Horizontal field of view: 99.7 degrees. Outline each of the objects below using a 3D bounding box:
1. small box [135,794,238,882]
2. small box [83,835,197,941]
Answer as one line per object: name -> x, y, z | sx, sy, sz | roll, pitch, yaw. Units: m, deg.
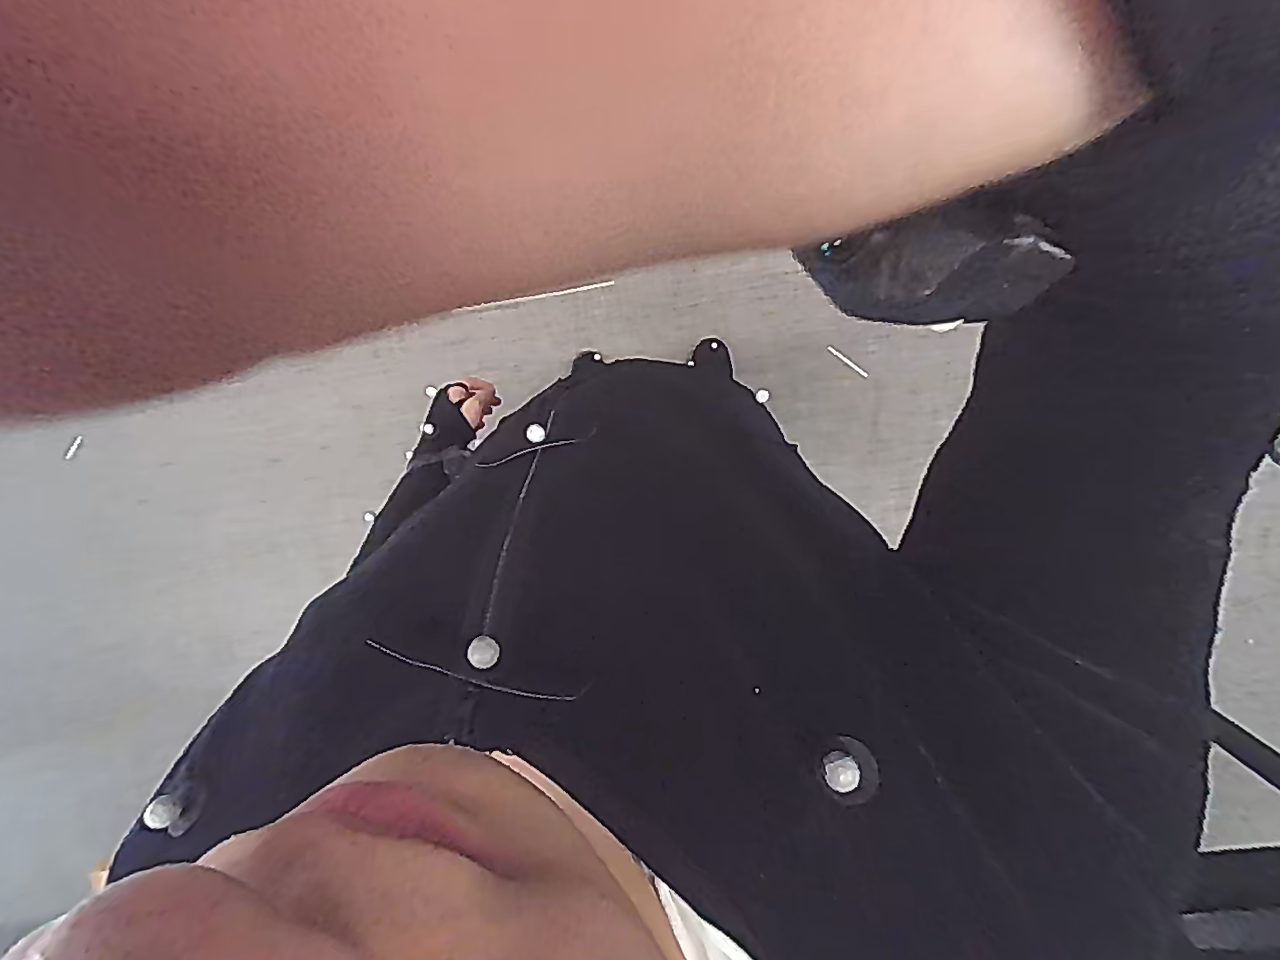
small box -> -1.429, 1.129, 1.715 | 0.168, 0.176, 0.179 | -2, 104, 4
small box -> -1.426, 1.170, 1.557 | 0.168, 0.176, 0.179 | 2, 103, 1
